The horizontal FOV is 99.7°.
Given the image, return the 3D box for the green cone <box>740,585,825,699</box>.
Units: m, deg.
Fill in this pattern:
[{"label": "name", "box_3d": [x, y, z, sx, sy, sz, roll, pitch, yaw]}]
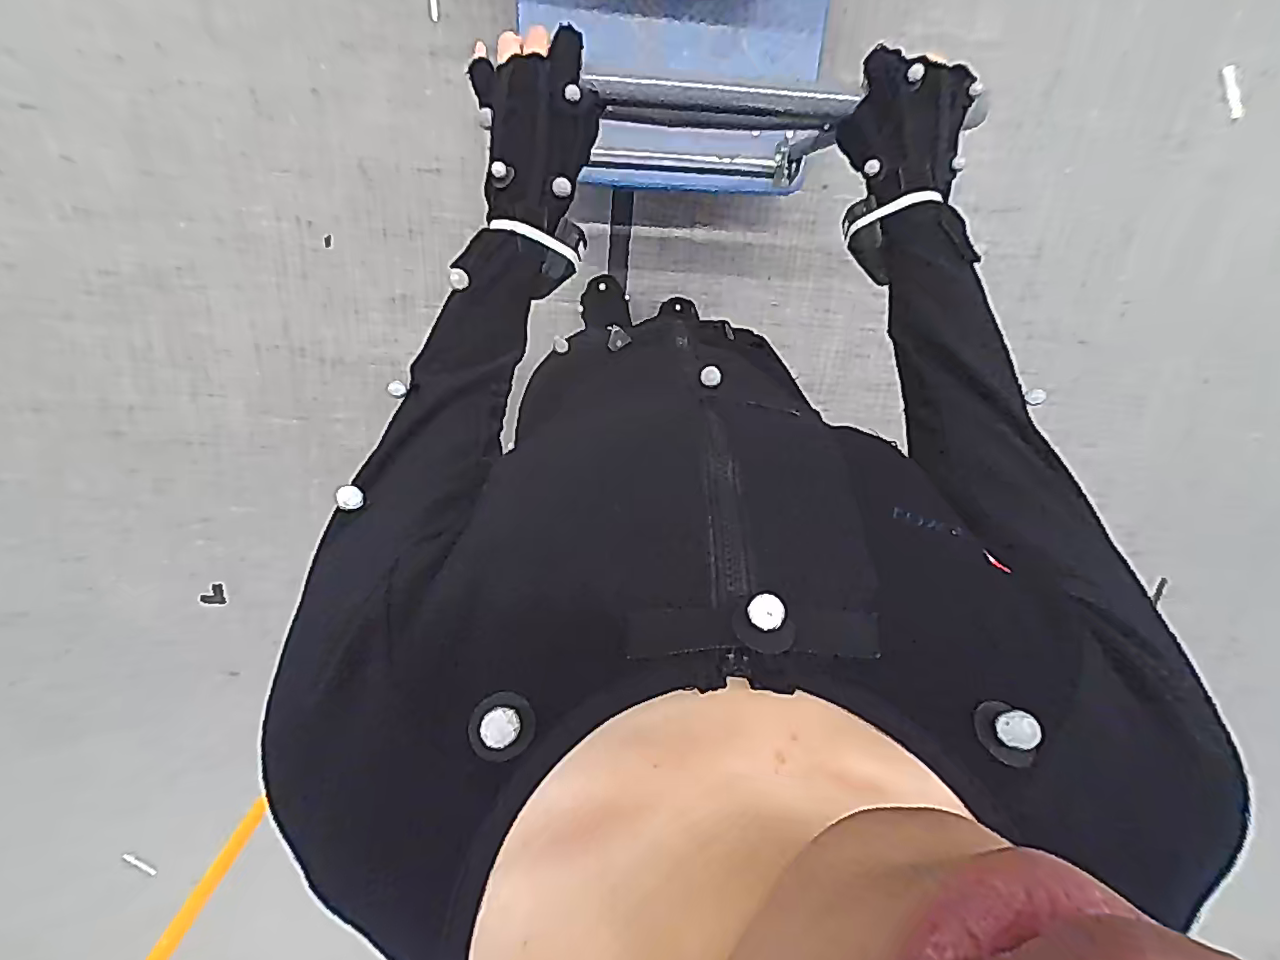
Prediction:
[{"label": "green cone", "box_3d": [0.443, 0.490, 1.566, 0.202, 0.368, 0.200, 6, 111, -7]}]
